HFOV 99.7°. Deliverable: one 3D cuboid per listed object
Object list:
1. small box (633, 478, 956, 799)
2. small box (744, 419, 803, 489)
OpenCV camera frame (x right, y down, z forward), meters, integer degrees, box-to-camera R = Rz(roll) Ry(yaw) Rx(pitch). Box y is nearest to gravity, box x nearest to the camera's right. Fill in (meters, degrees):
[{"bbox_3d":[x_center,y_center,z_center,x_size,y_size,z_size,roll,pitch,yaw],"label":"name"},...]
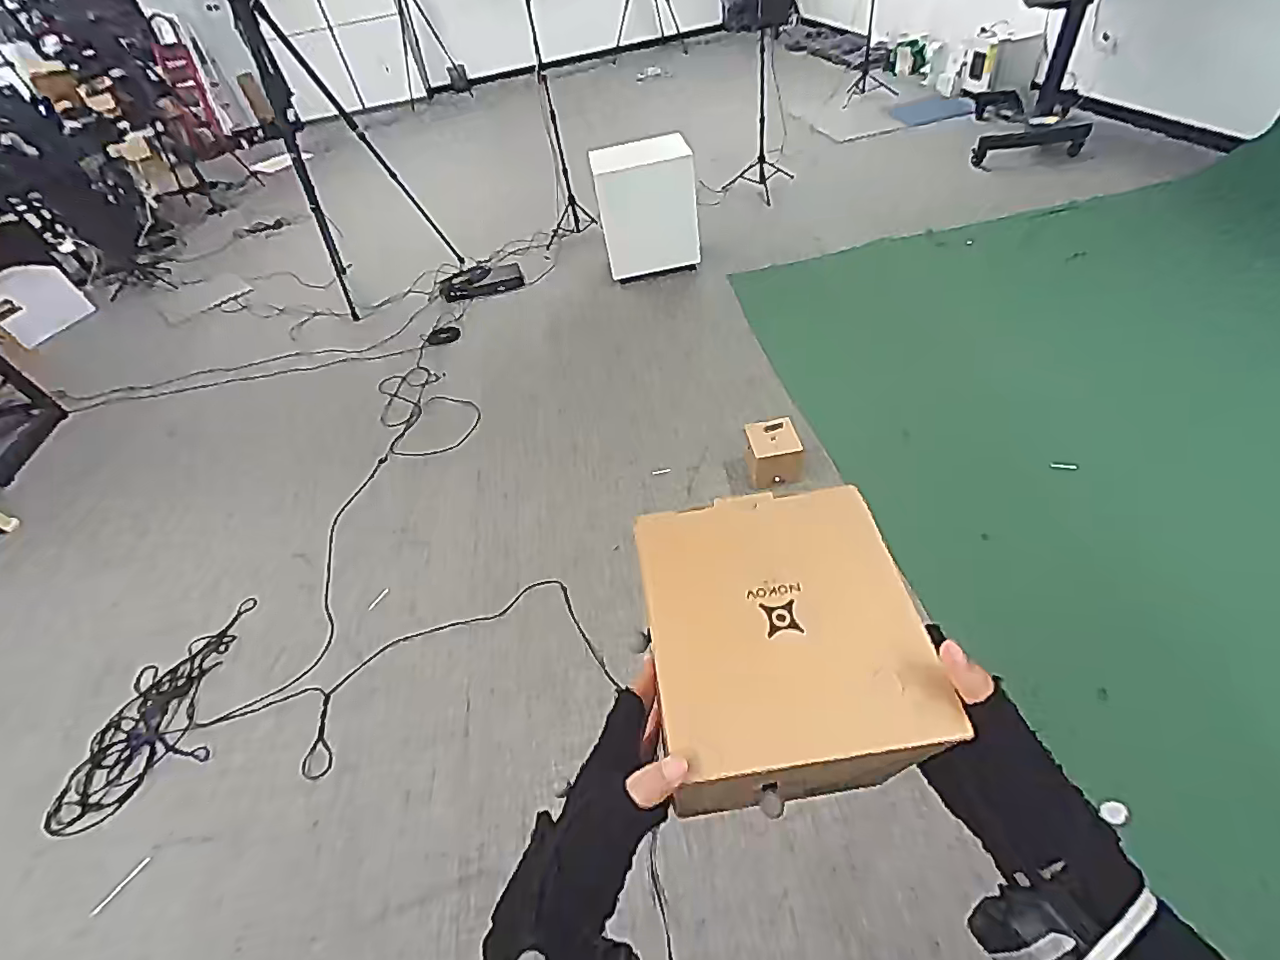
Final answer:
[{"bbox_3d":[0.092,0.127,0.410,0.168,0.176,0.179,-9,51,-2],"label":"small box"},{"bbox_3d":[0.473,-0.092,1.944,0.168,0.176,0.179,-10,47,2],"label":"small box"}]
